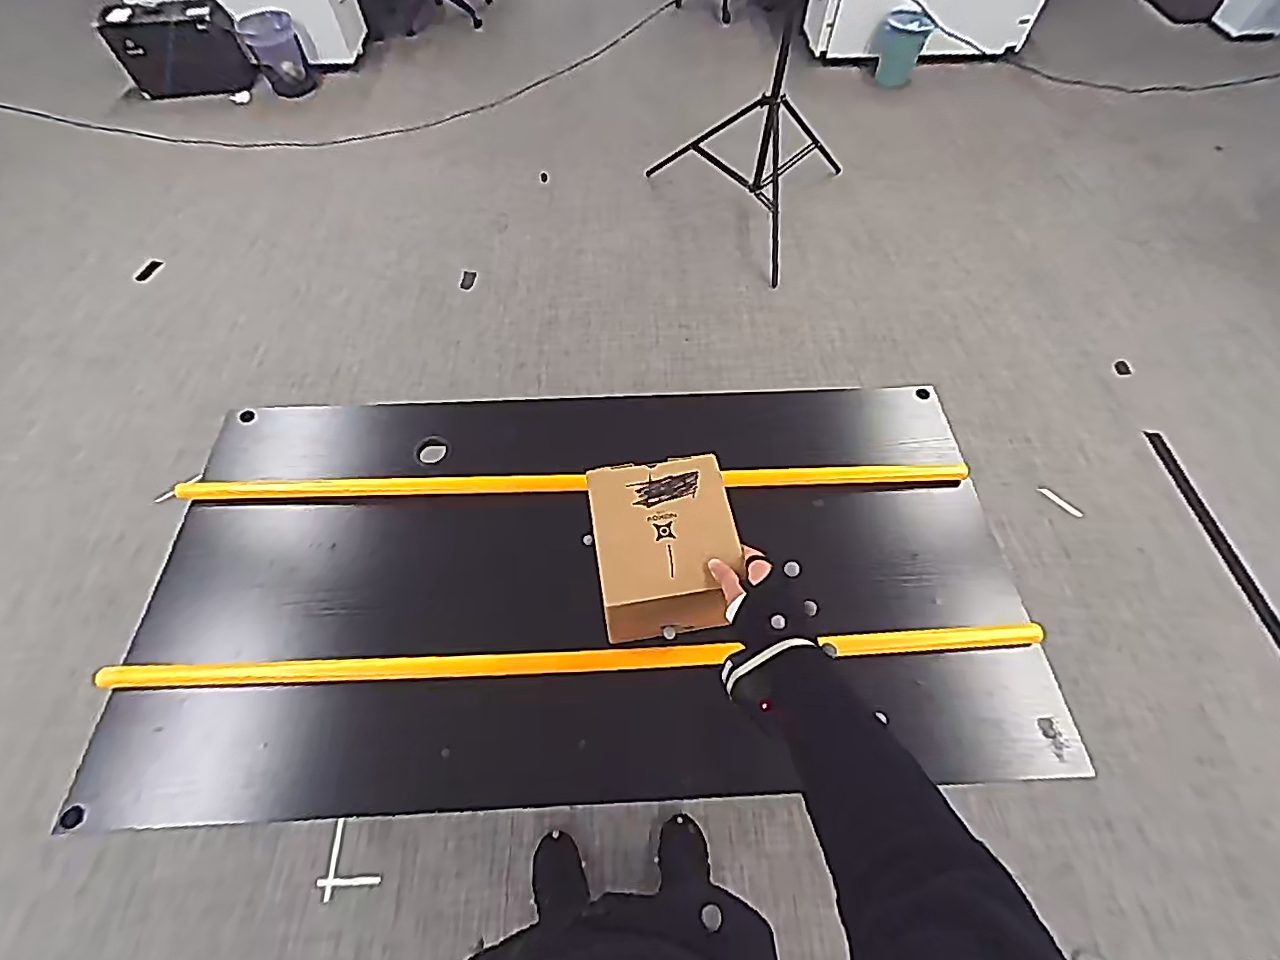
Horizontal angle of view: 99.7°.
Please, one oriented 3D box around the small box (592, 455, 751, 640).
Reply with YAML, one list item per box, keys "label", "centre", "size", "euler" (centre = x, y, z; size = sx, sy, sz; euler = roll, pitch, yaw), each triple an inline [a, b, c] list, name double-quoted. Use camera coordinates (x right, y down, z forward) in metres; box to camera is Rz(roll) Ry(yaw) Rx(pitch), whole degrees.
- label: "small box"
  centre: [0.031, 0.092, 0.705]
  size: [0.168, 0.176, 0.179]
  euler: [-8, 61, -4]
